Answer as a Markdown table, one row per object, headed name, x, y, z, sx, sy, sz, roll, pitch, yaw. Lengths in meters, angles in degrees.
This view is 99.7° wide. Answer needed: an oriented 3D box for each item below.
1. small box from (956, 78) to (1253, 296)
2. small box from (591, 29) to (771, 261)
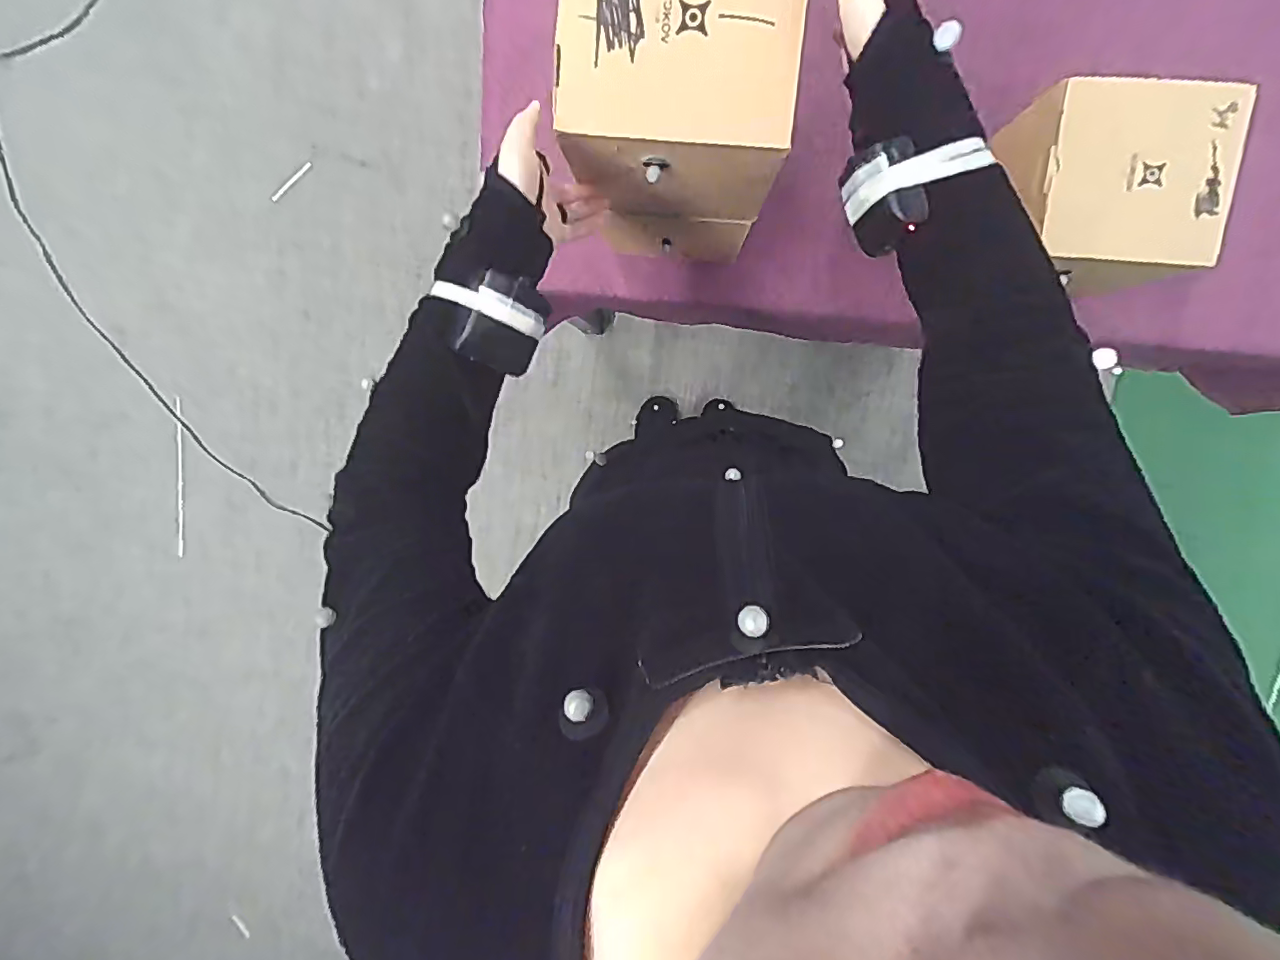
| name | x | y | z | sx | sy | sz | roll | pitch | yaw |
| --- | --- | --- | --- | --- | --- | --- | --- | --- | --- |
| small box | 0.487 | -0.307 | 0.601 | 0.179 | 0.176 | 0.168 | 5 | 99 | 4 |
| small box | 0.044 | -0.364 | 0.623 | 0.168 | 0.176 | 0.179 | 6 | 99 | 2 |
